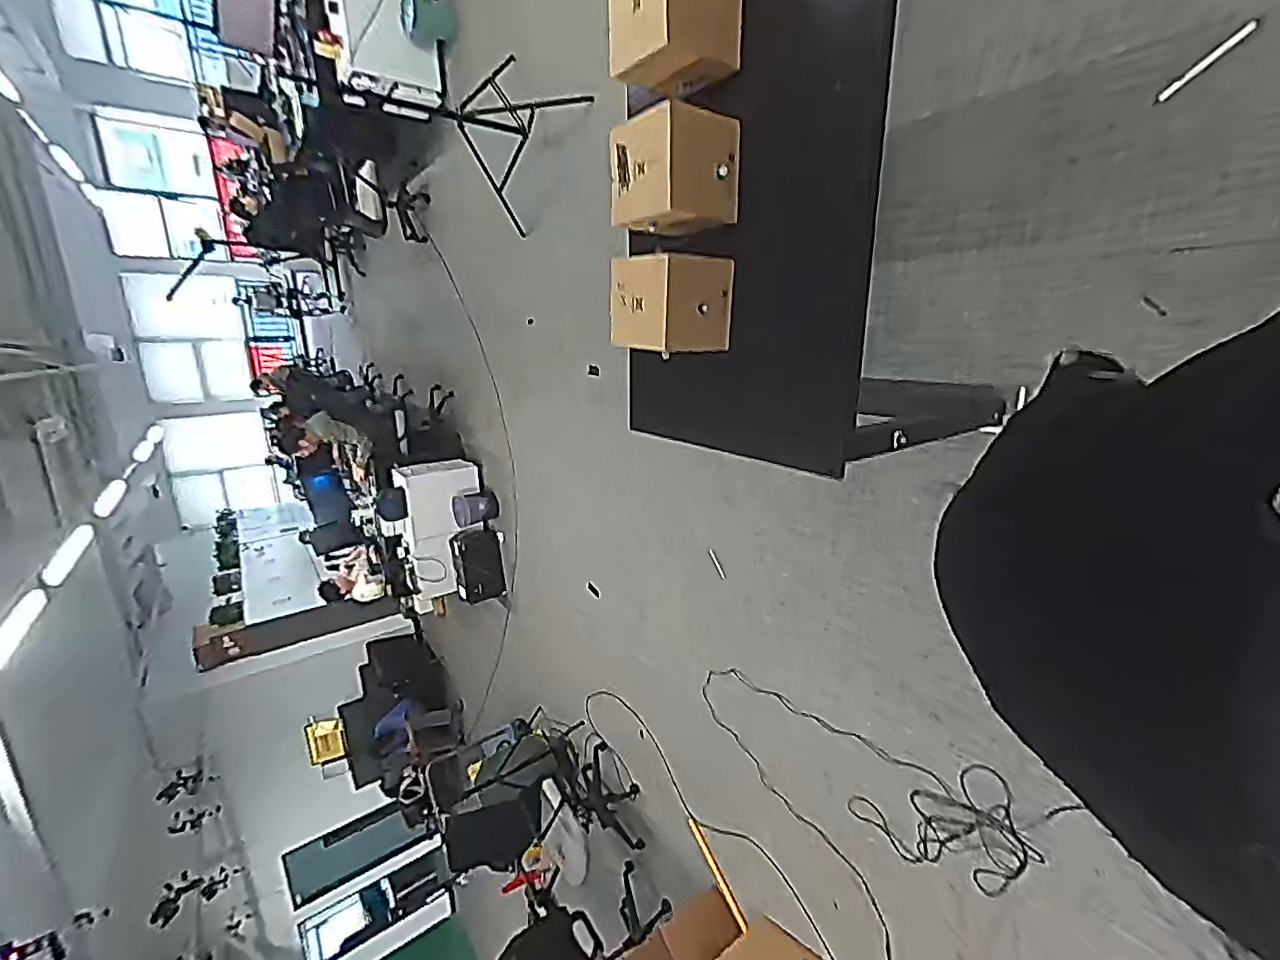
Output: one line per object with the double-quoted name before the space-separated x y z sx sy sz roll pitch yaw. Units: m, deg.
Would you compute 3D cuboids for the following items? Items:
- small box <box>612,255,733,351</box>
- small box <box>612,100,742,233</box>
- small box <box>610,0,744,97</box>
"small box" 0.062 -0.346 1.060 0.179 0.176 0.168 24 118 50
"small box" 0.064 -0.561 0.997 0.179 0.176 0.168 18 114 50
"small box" 0.064 -0.801 0.932 0.168 0.176 0.179 20 117 52
